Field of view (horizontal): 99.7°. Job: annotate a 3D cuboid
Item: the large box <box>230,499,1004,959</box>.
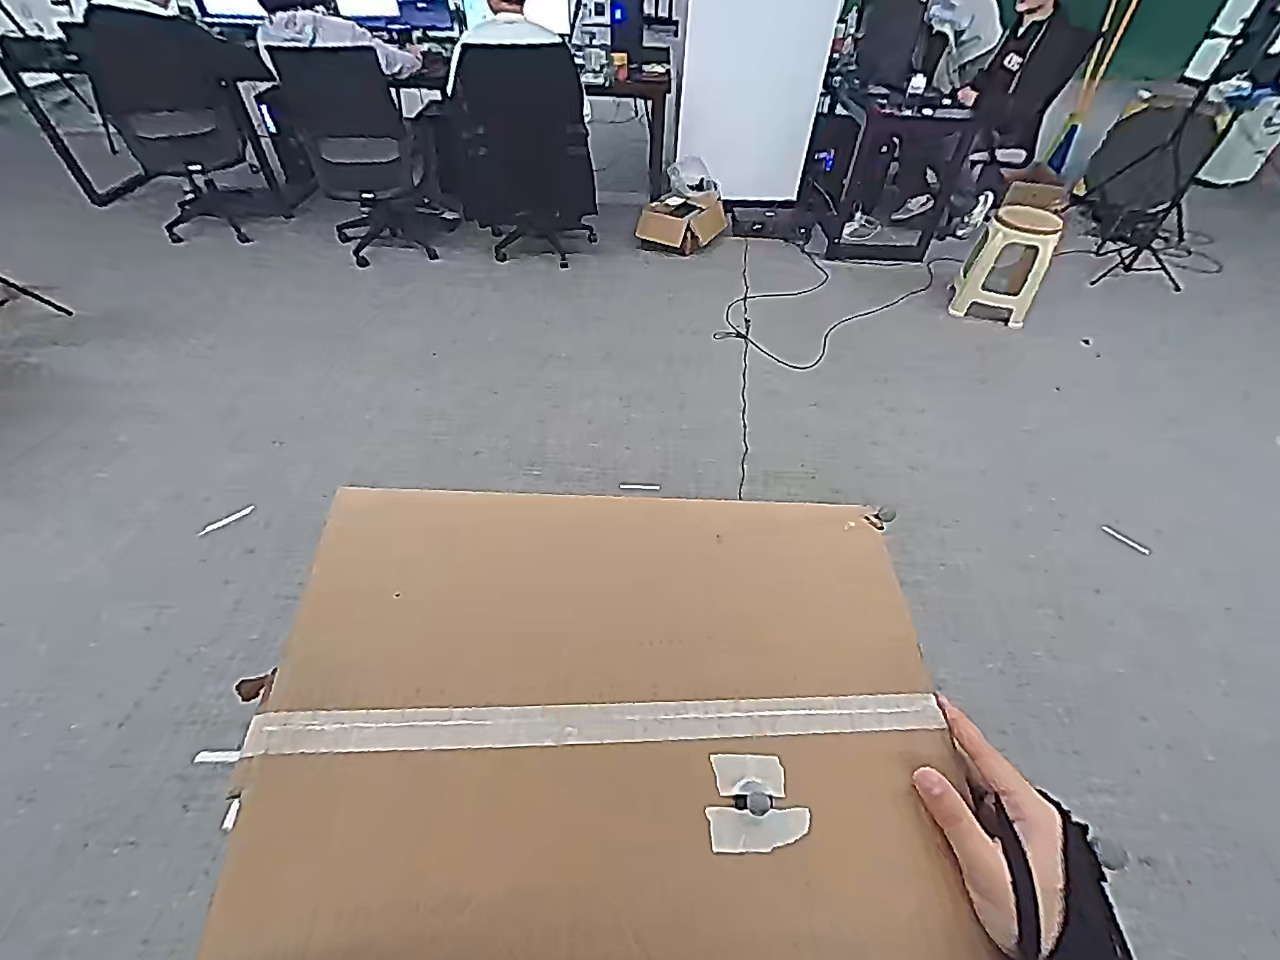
[{"bbox_3d":[-0.027,0.229,0.459,0.408,0.320,0.320,3,58,-9],"label":"large box"}]
